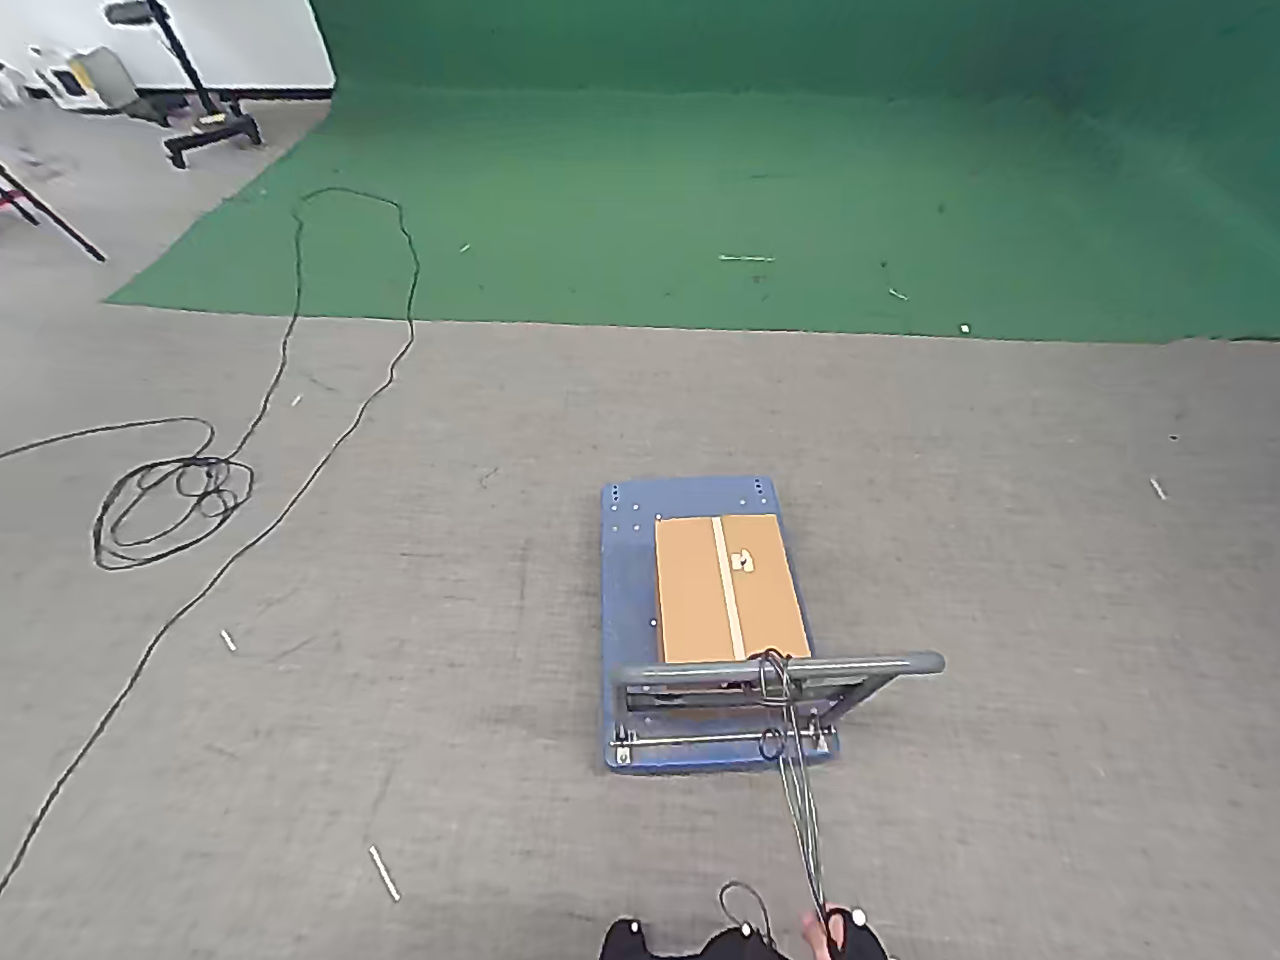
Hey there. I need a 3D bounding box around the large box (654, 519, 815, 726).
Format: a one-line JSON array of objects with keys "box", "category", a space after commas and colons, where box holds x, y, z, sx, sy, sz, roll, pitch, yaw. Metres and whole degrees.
[{"box": [0.202, 0.354, 1.346, 0.320, 0.320, 0.408, -2, 50, -2], "category": "large box"}]
